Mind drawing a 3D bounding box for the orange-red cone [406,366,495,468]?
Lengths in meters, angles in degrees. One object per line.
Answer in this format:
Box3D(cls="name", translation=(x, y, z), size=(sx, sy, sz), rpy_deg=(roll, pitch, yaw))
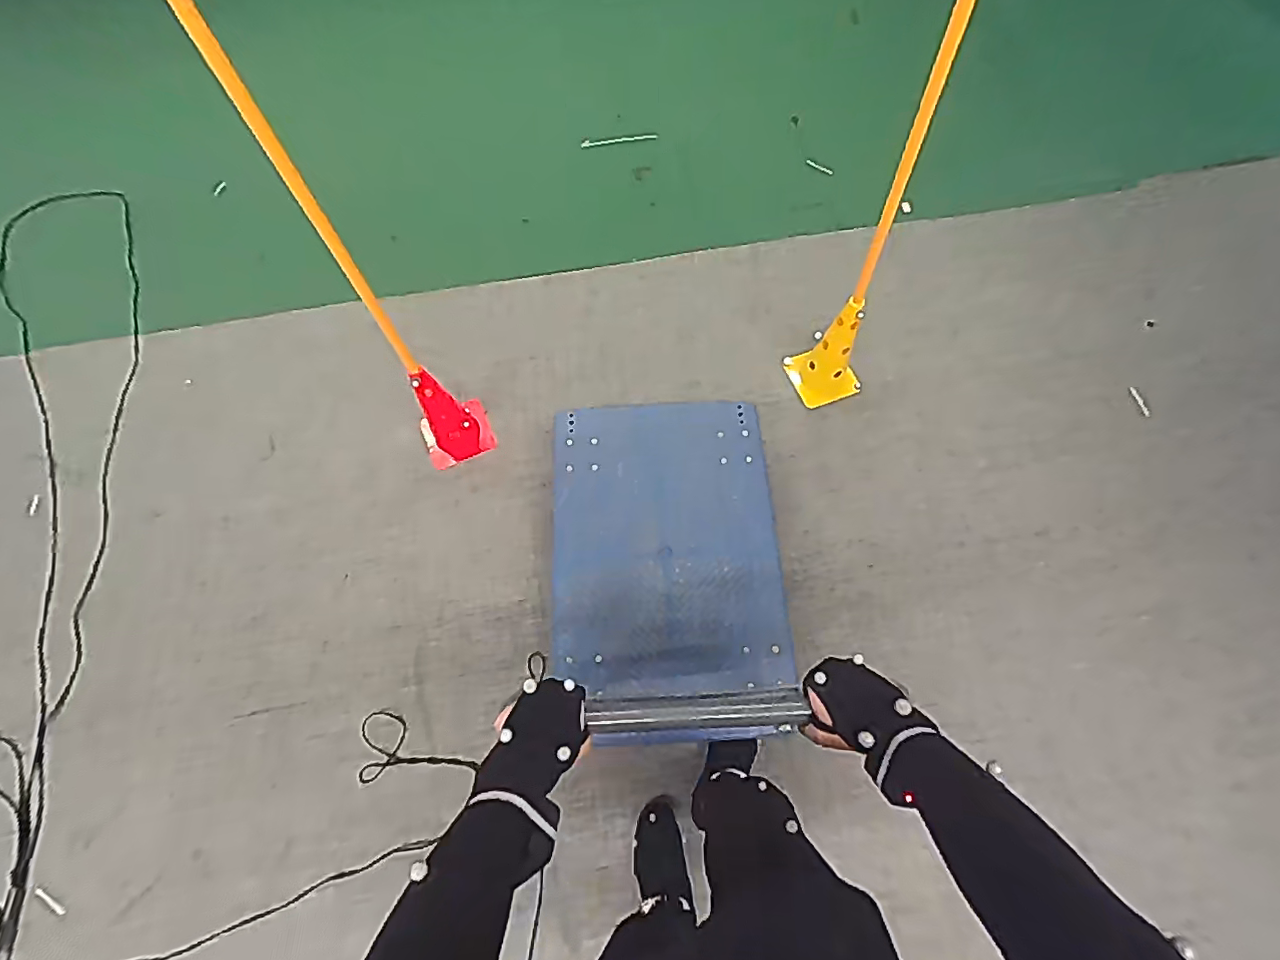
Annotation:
Box3D(cls="orange-red cone", translation=(-0.579, -0.209, 1.550), size=(0.199, 0.360, 0.198), rpy_deg=(-24, 68, -7))
